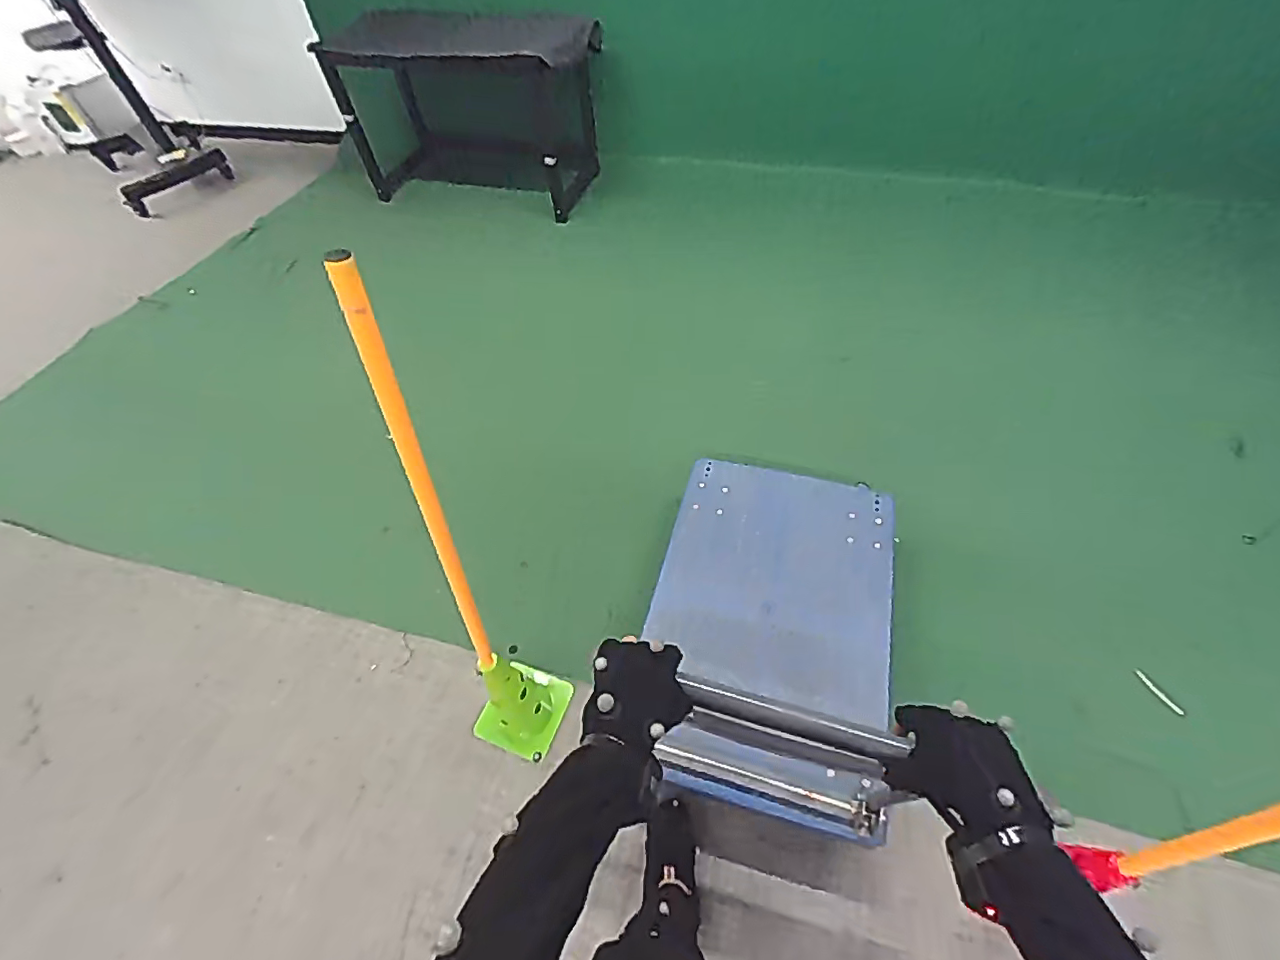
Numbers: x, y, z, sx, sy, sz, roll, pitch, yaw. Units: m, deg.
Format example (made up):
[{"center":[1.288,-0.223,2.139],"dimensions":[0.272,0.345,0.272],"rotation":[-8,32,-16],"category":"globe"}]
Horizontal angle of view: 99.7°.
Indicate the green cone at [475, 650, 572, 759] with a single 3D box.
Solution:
[{"center":[-0.306,0.482,1.261],"dimensions":[0.202,0.368,0.200],"rotation":[14,54,15],"category":"green cone"}]
